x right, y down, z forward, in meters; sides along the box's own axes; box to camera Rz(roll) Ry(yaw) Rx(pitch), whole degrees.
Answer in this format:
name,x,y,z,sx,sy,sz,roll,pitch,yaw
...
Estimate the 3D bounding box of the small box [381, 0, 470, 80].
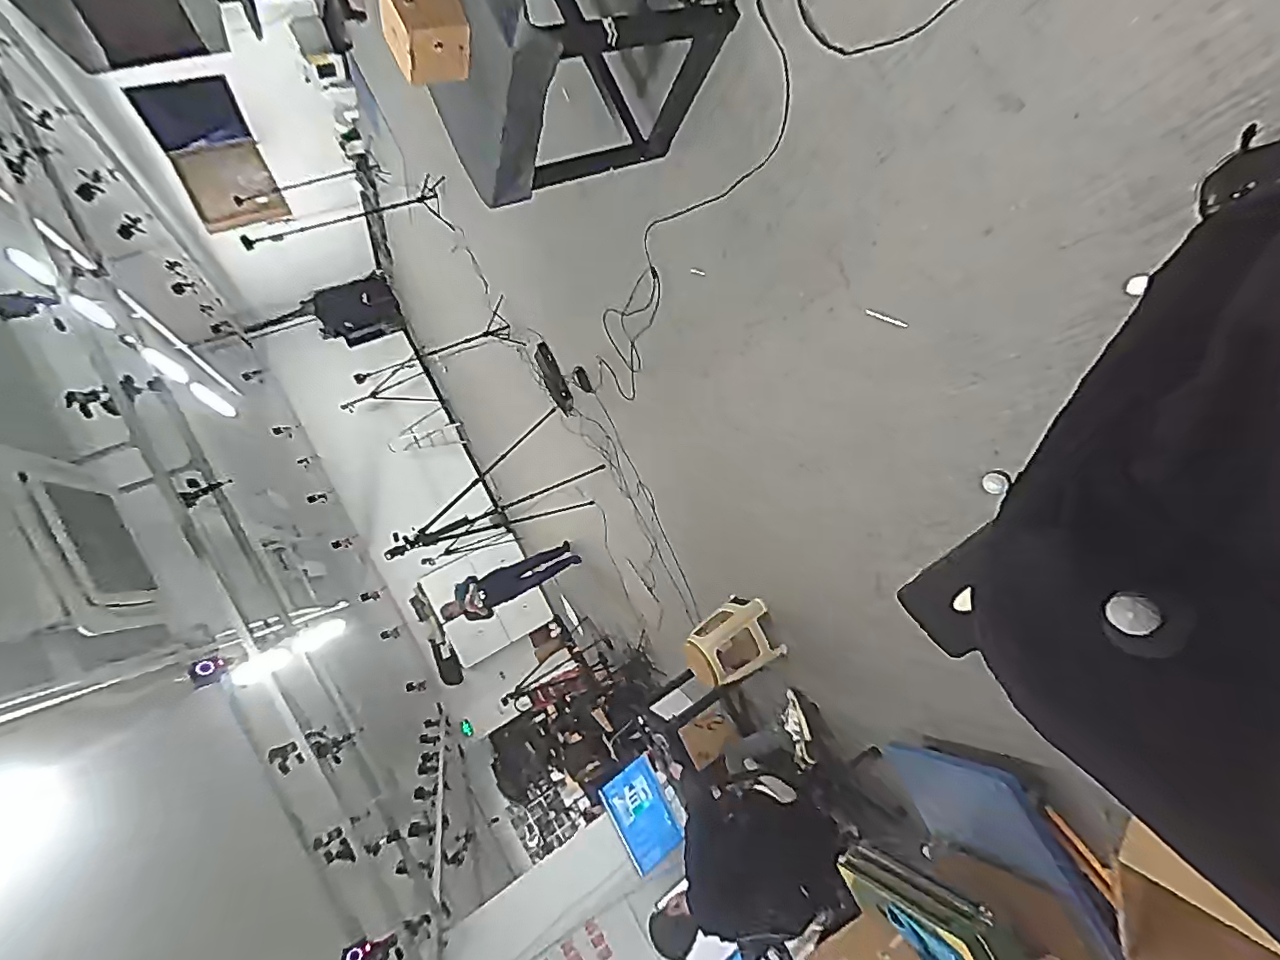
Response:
name,x,y,z,sx,sy,sz,roll,pitch,yaw
small box,-0.559,-1.202,1.414,0.179,0.176,0.168,64,158,0
